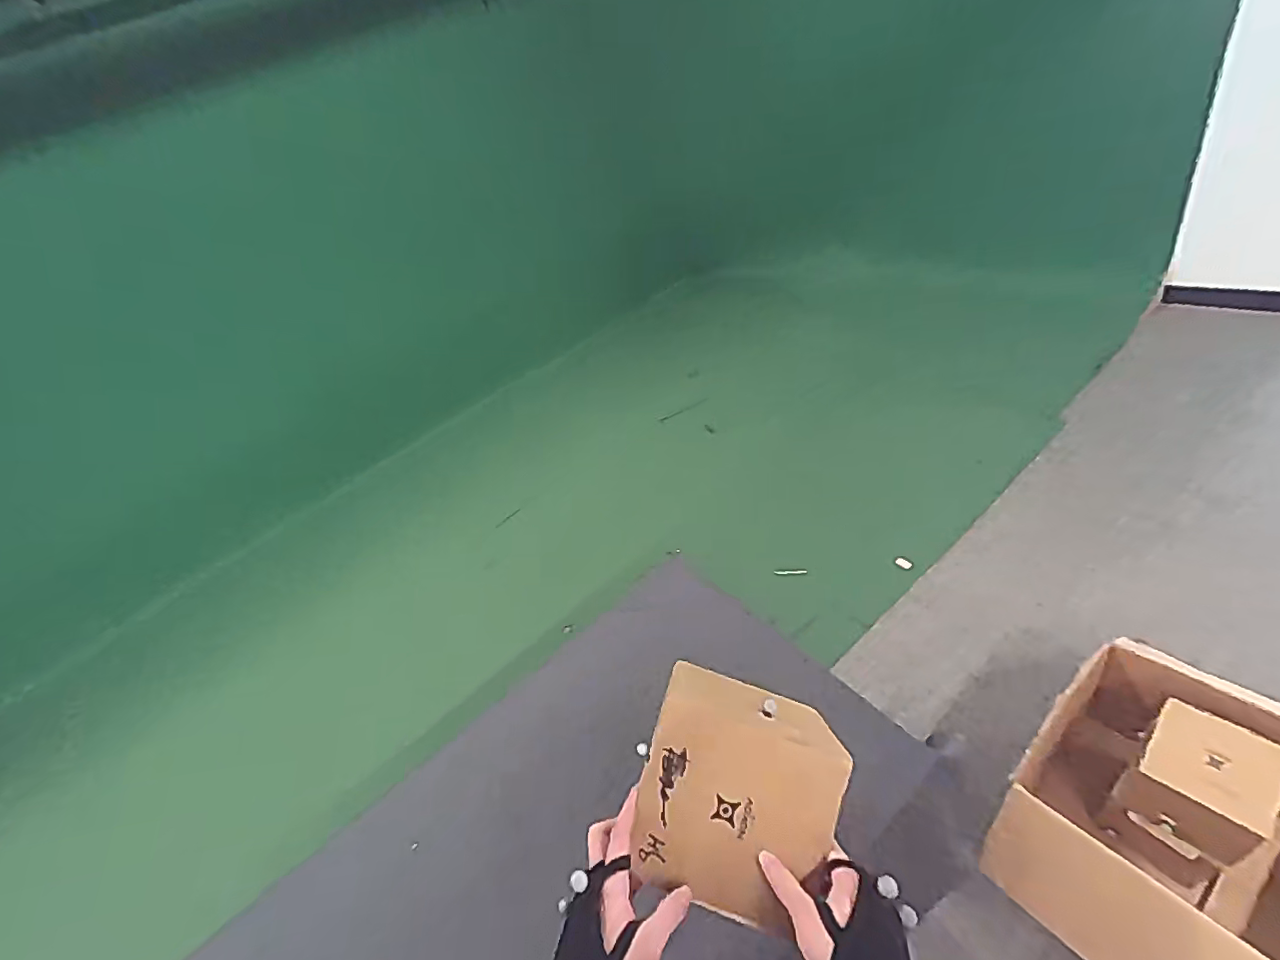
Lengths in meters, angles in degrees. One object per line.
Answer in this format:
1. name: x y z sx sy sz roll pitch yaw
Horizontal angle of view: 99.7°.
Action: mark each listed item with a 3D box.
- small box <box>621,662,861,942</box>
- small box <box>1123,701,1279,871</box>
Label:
1. small box: 0.098 0.308 0.564 0.179 0.176 0.168 19 84 8
2. small box: 1.009 0.544 0.967 0.179 0.176 0.168 -43 42 -22
